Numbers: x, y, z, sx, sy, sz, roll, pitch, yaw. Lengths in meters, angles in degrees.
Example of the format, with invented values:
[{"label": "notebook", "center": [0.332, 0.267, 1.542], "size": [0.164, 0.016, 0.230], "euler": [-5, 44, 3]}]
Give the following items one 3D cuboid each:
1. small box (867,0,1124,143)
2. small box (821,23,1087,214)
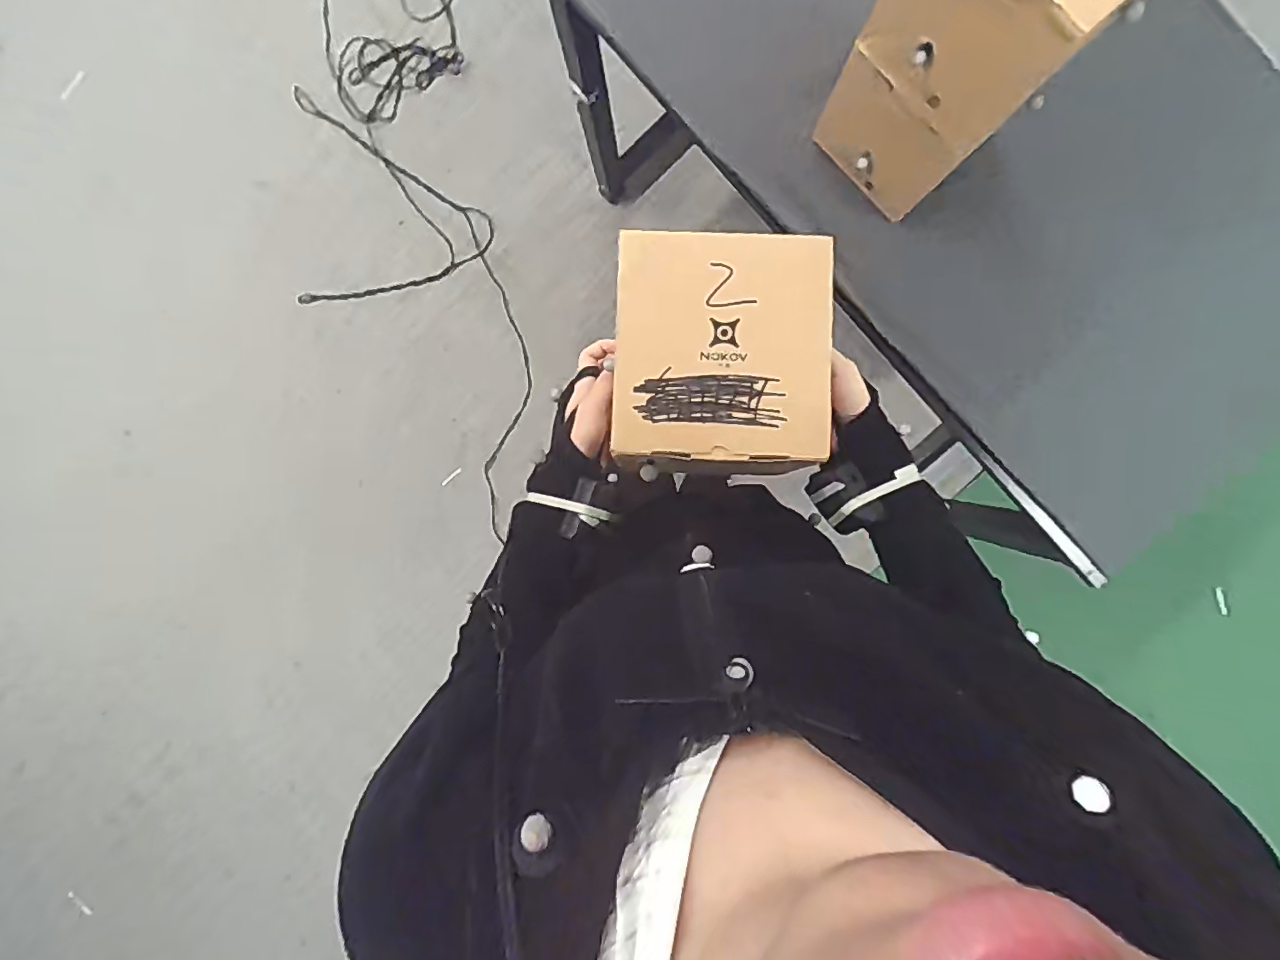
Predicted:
[{"label": "small box", "center": [0.339, -0.453, 0.472], "size": [0.179, 0.176, 0.168], "euler": [-43, 91, 4]}, {"label": "small box", "center": [0.346, -0.461, 0.634], "size": [0.179, 0.176, 0.168], "euler": [-43, 90, 4]}]
